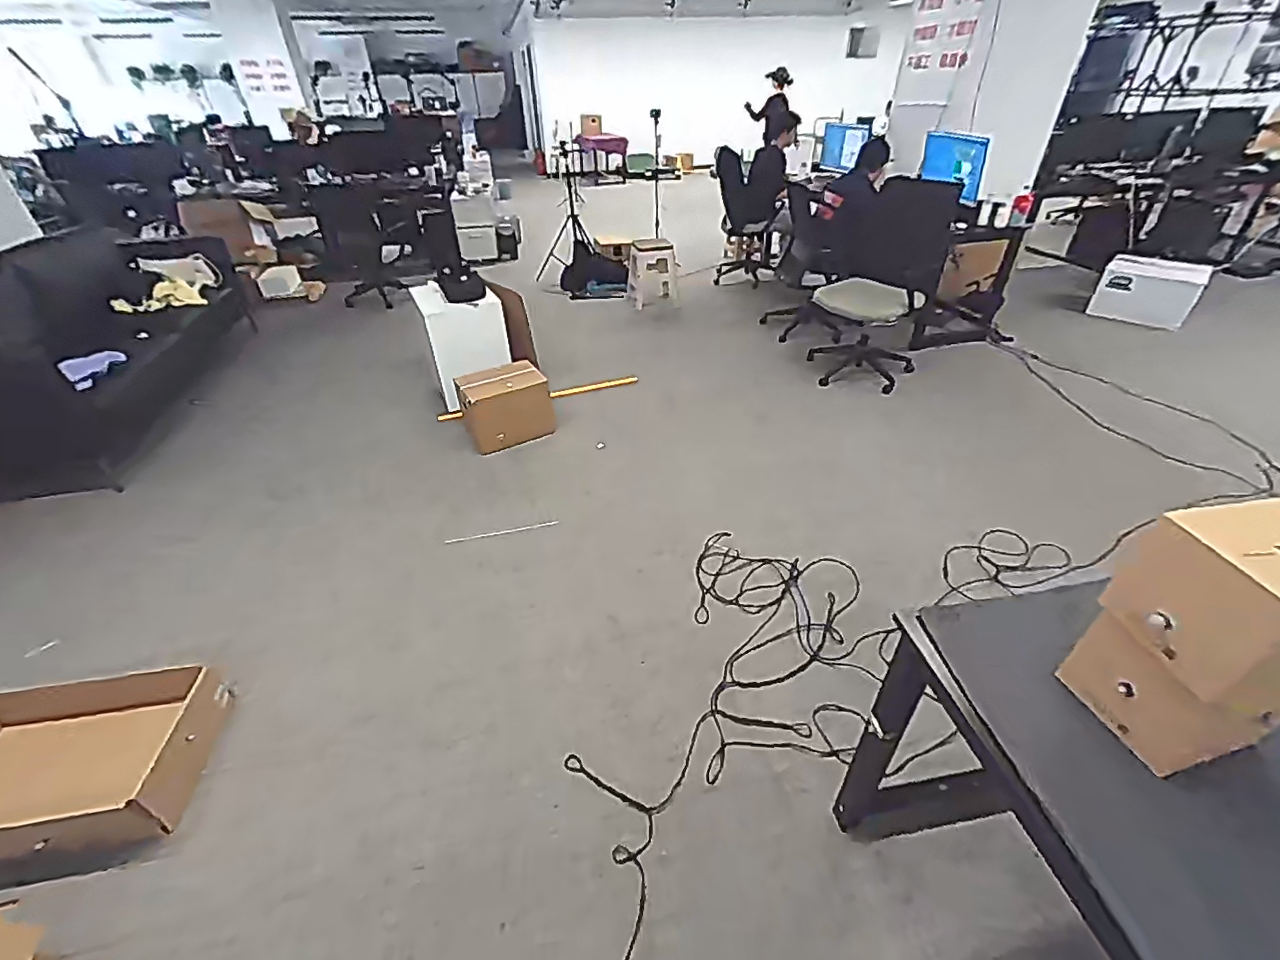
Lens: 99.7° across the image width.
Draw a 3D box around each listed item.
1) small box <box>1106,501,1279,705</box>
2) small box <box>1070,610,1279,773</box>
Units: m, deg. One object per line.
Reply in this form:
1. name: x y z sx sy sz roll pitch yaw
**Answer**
1. small box: 0.735 0.147 0.654 0.179 0.176 0.168 -6 37 -5
2. small box: 0.754 0.276 0.755 0.179 0.176 0.168 -10 38 -12
